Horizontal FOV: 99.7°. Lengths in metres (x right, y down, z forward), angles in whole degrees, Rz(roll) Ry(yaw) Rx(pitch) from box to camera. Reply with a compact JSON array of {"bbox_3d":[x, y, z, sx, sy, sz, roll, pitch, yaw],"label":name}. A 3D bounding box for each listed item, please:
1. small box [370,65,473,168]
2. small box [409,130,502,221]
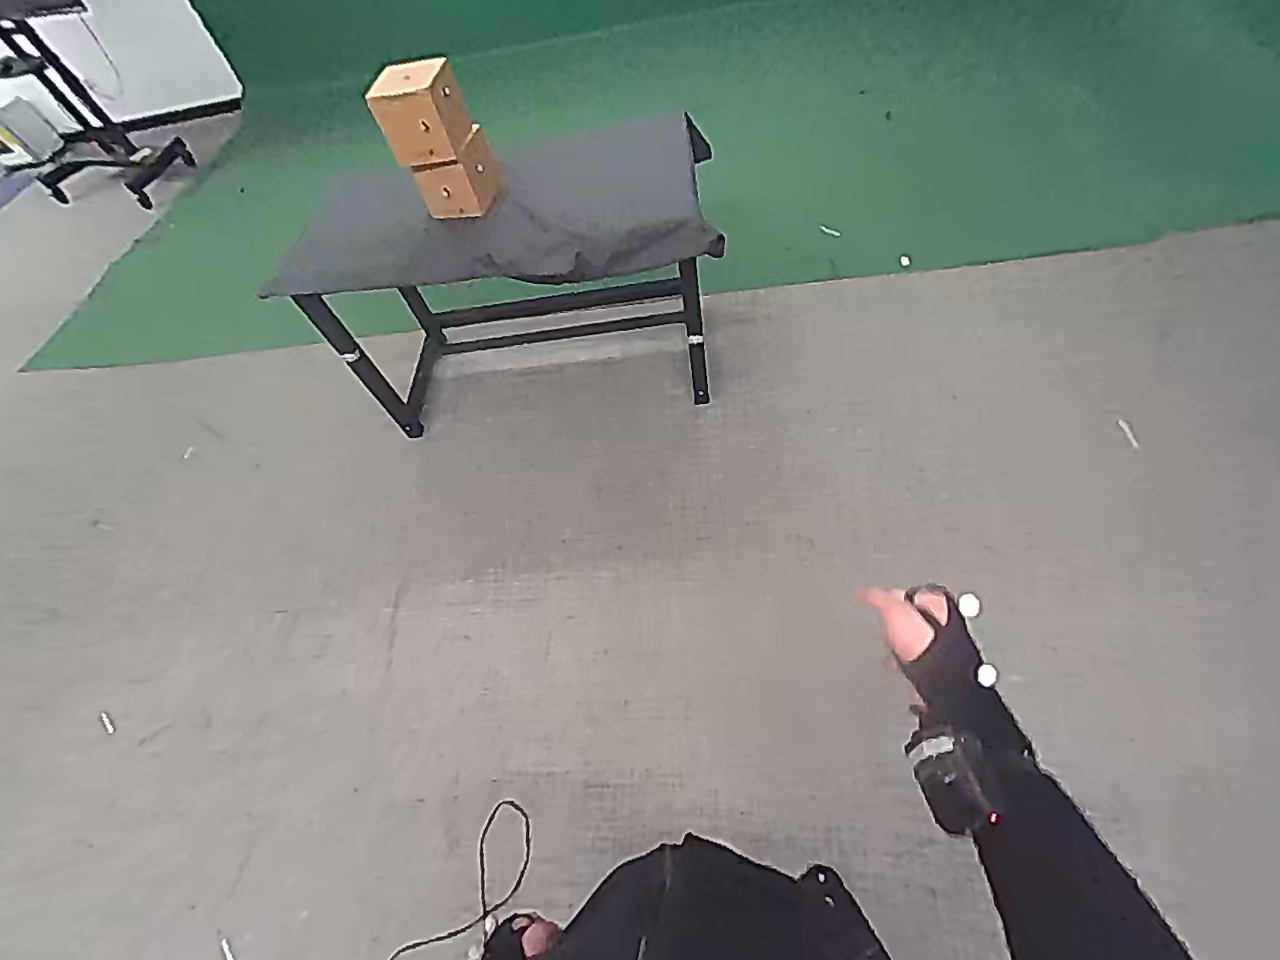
[{"bbox_3d":[-0.556,-0.934,1.404,0.168,0.176,0.179,-1,56,9],"label":"small box"},{"bbox_3d":[-0.518,-0.864,1.549,0.168,0.176,0.179,3,58,13],"label":"small box"}]
